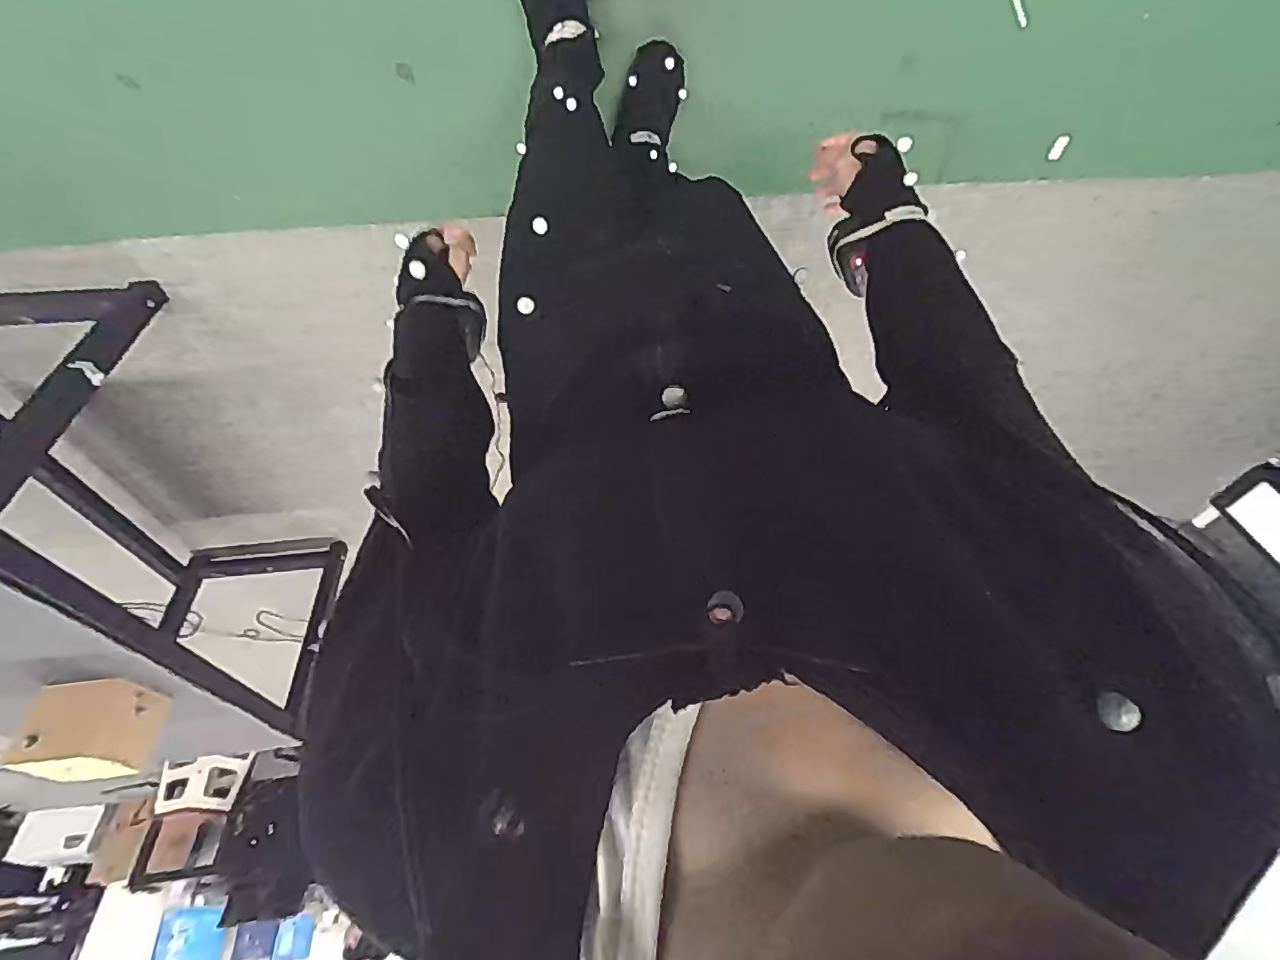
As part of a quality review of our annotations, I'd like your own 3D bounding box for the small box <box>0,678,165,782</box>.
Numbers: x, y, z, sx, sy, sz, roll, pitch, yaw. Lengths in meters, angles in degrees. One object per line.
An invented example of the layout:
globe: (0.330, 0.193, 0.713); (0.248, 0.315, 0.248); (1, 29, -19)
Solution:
small box: (-1.242, 0.562, 1.219); (0.179, 0.176, 0.168); (-5, 141, -4)
